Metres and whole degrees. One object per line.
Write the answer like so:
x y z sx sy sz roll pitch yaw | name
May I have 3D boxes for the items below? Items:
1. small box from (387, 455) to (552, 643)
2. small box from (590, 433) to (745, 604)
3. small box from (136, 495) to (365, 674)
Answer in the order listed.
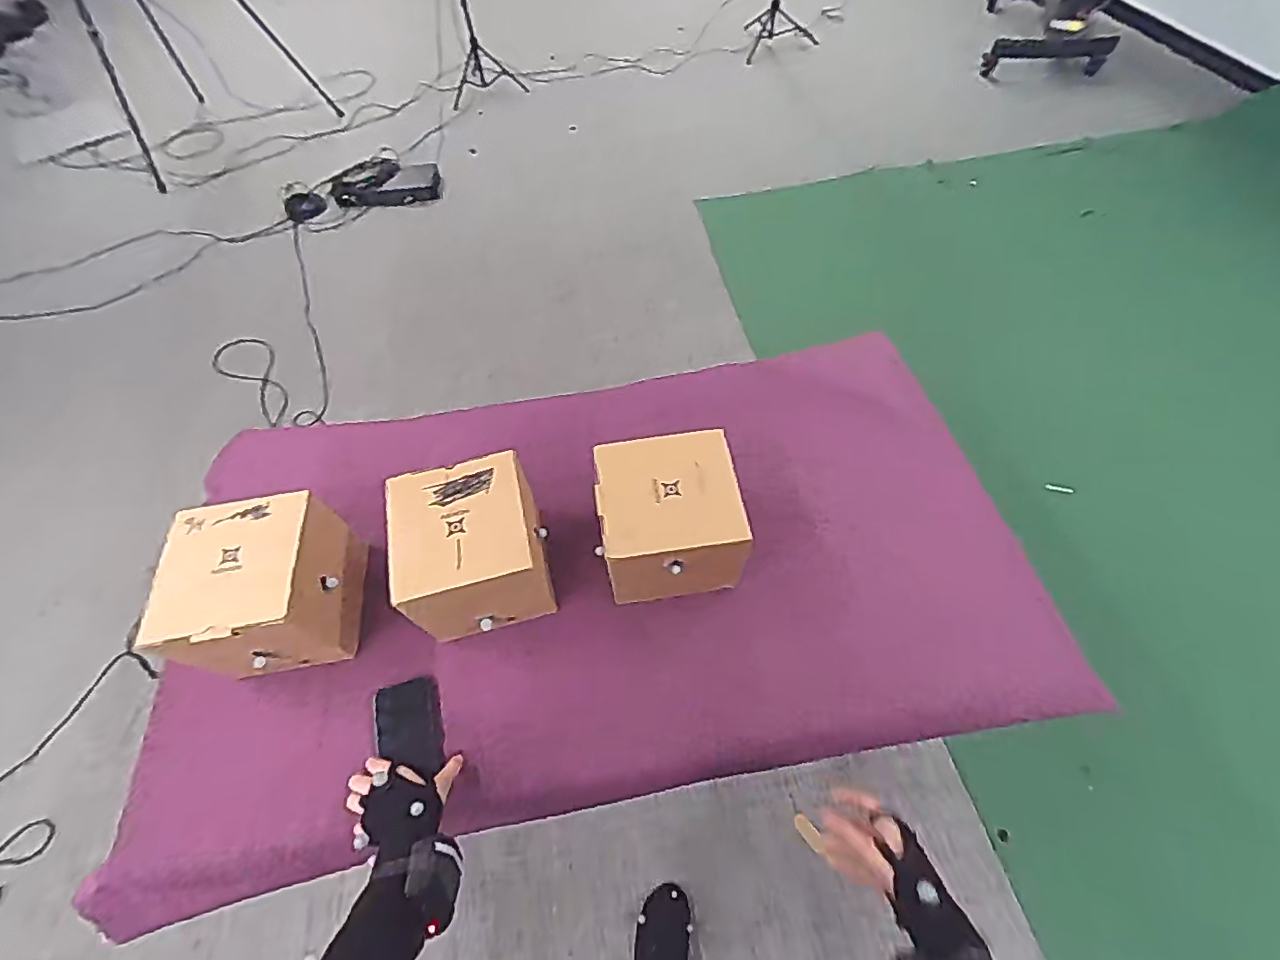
-0.223 0.097 0.728 0.168 0.176 0.179 -14 59 -6 | small box
0.034 0.059 0.741 0.179 0.176 0.168 -7 58 -2 | small box
-0.486 0.145 0.710 0.168 0.176 0.179 -9 58 -3 | small box
